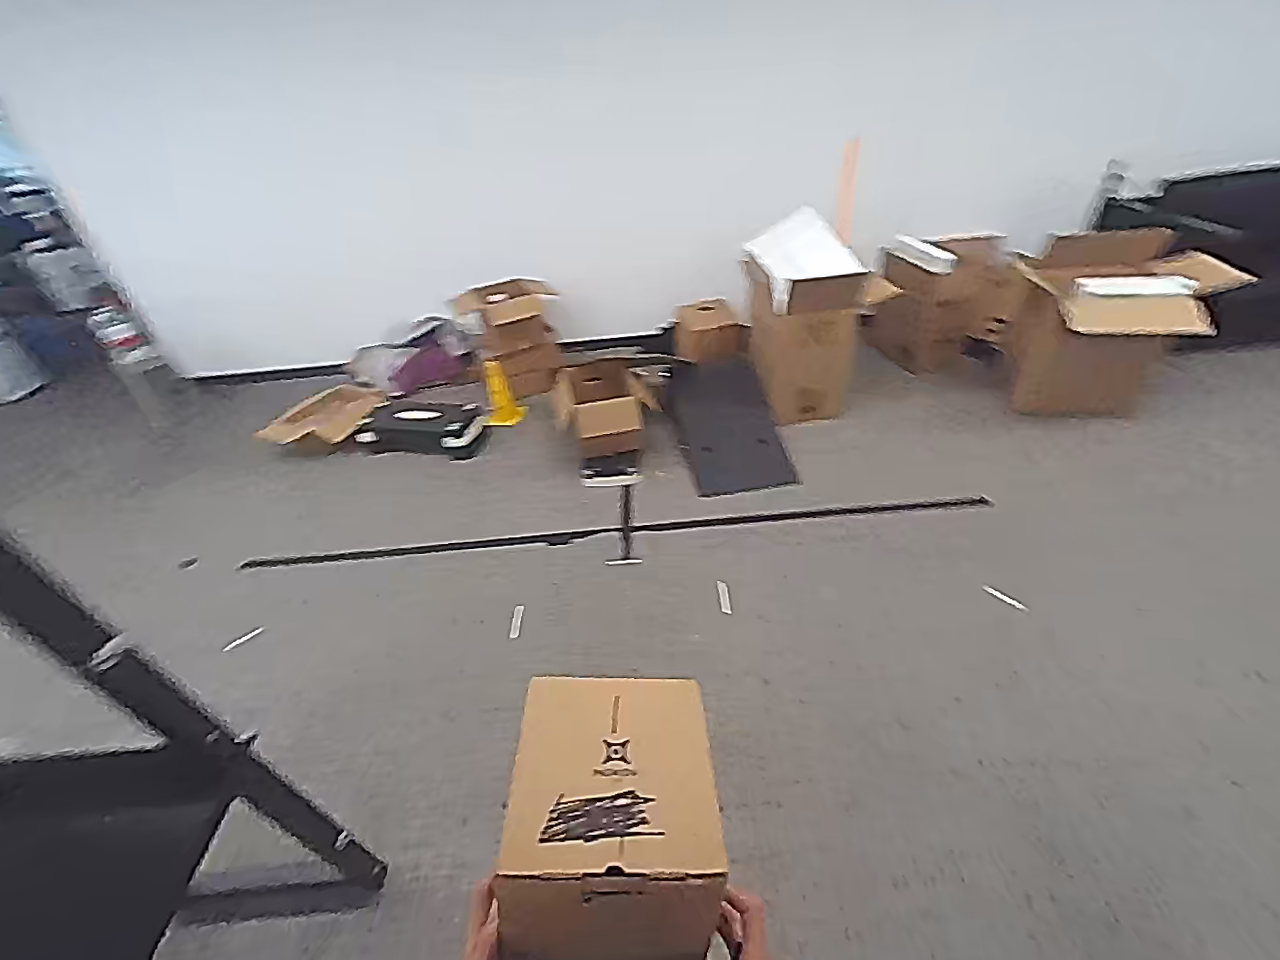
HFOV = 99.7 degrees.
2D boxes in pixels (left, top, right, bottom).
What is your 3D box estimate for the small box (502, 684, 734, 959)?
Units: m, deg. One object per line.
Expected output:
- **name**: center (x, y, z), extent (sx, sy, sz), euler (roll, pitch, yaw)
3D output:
- **small box**: center (-0.020, 0.312, 0.484), extent (0.168, 0.176, 0.179), euler (3, 27, -3)
